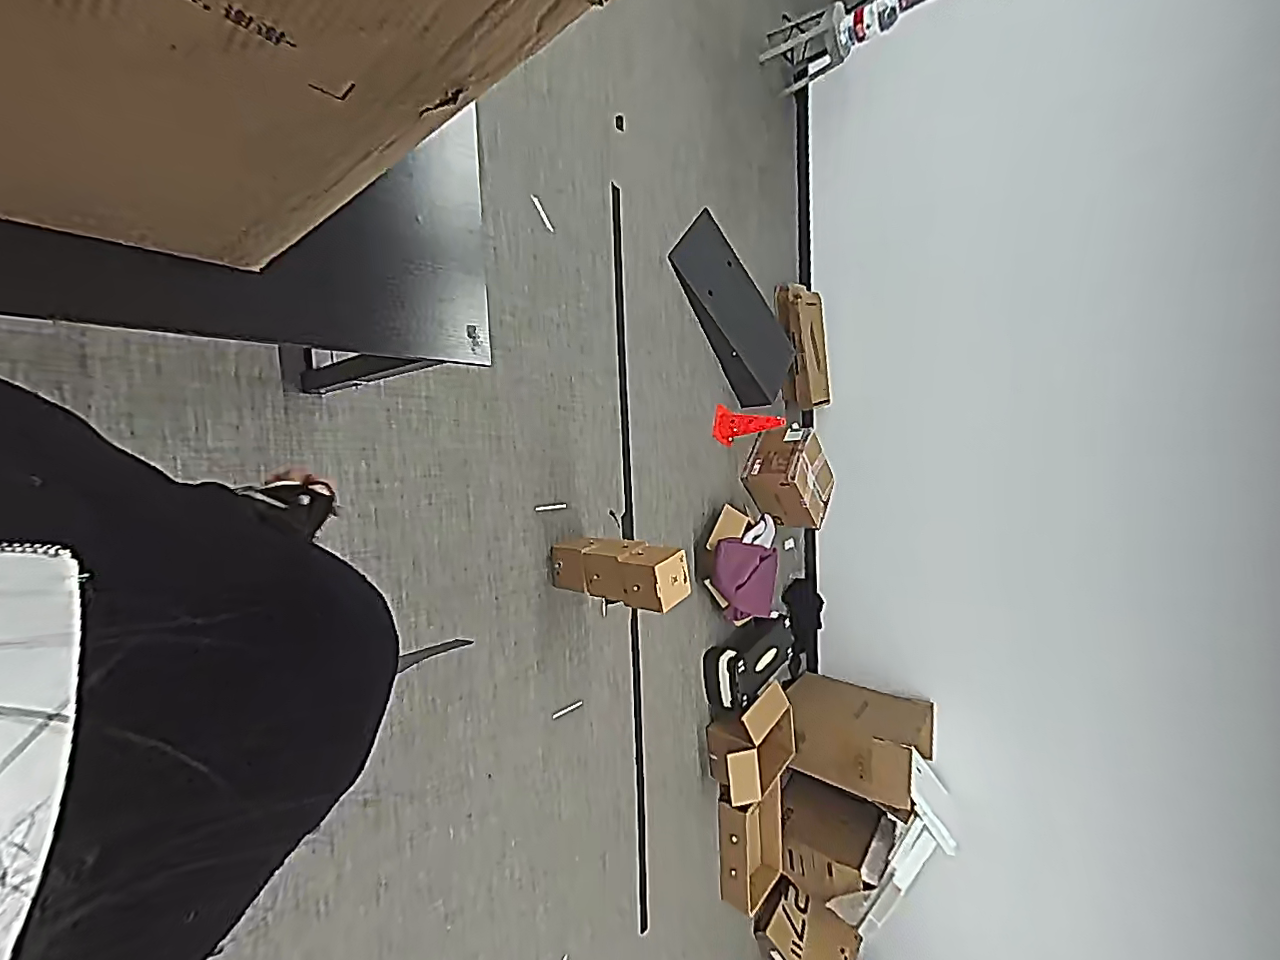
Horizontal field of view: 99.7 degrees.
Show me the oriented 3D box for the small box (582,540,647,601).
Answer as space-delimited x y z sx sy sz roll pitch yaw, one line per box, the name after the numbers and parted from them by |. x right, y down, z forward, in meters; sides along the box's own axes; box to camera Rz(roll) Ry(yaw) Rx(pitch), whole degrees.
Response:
-0.084 0.321 1.956 0.179 0.176 0.168 -18 103 -49 | small box

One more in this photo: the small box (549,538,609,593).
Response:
-0.220 0.319 2.050 0.179 0.176 0.168 -10 97 -49 | small box

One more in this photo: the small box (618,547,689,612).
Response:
0.041 0.333 1.850 0.179 0.176 0.168 -21 105 -49 | small box
